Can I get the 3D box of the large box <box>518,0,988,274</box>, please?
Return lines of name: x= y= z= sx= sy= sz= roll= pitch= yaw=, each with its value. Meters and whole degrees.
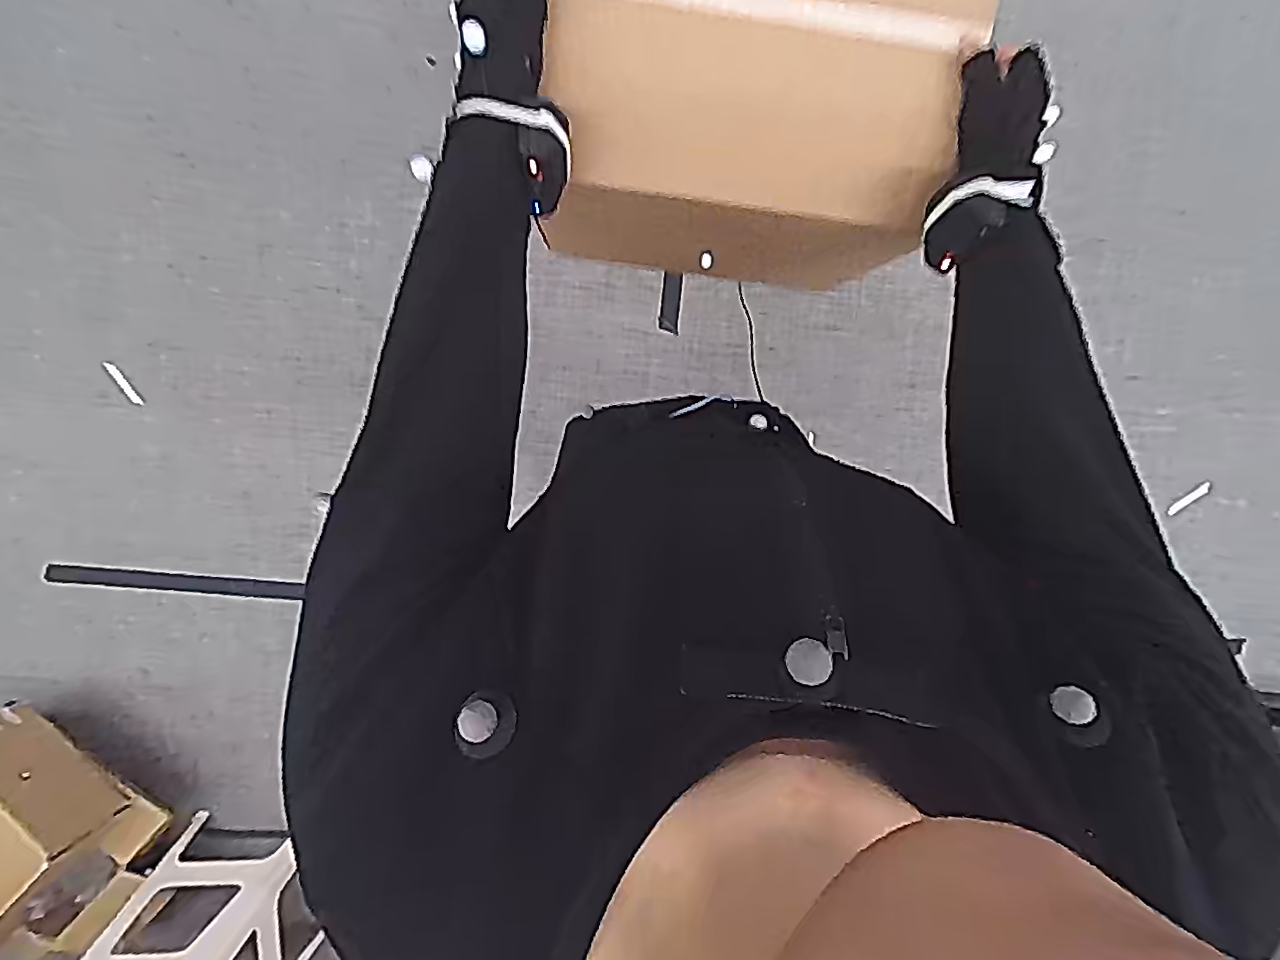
large box: x=0.099 y=-0.438 z=0.612 sx=0.408 sy=0.320 sz=0.320 roll=6 pitch=99 yaw=-4
